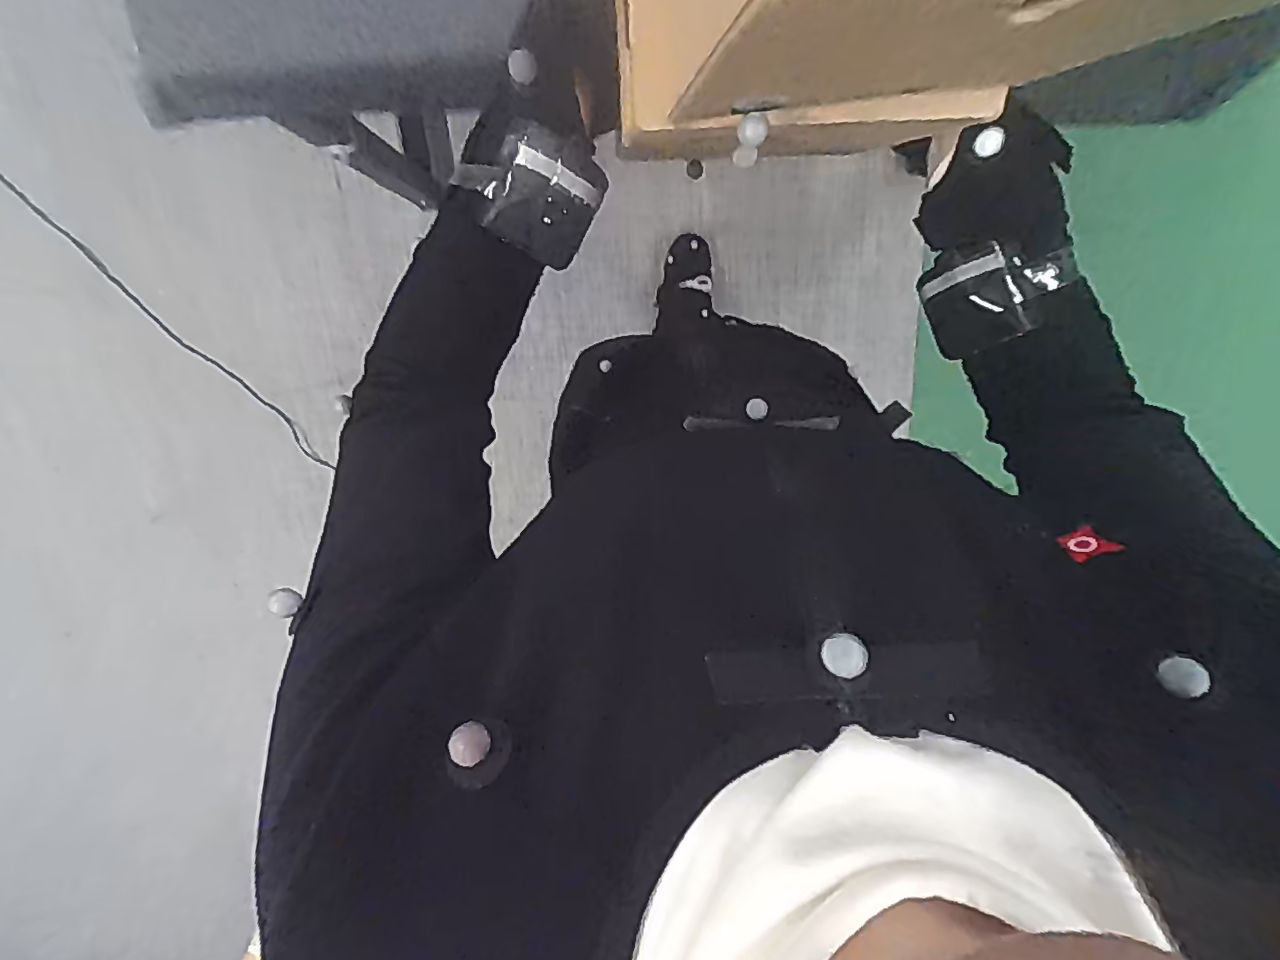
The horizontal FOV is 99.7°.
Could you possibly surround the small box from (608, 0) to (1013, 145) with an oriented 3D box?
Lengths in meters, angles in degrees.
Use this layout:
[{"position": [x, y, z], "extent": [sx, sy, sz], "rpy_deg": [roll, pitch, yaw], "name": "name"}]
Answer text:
[{"position": [0.069, -0.288, 0.282], "extent": [0.179, 0.176, 0.168], "rpy_deg": [-6, 114, -2], "name": "small box"}]
